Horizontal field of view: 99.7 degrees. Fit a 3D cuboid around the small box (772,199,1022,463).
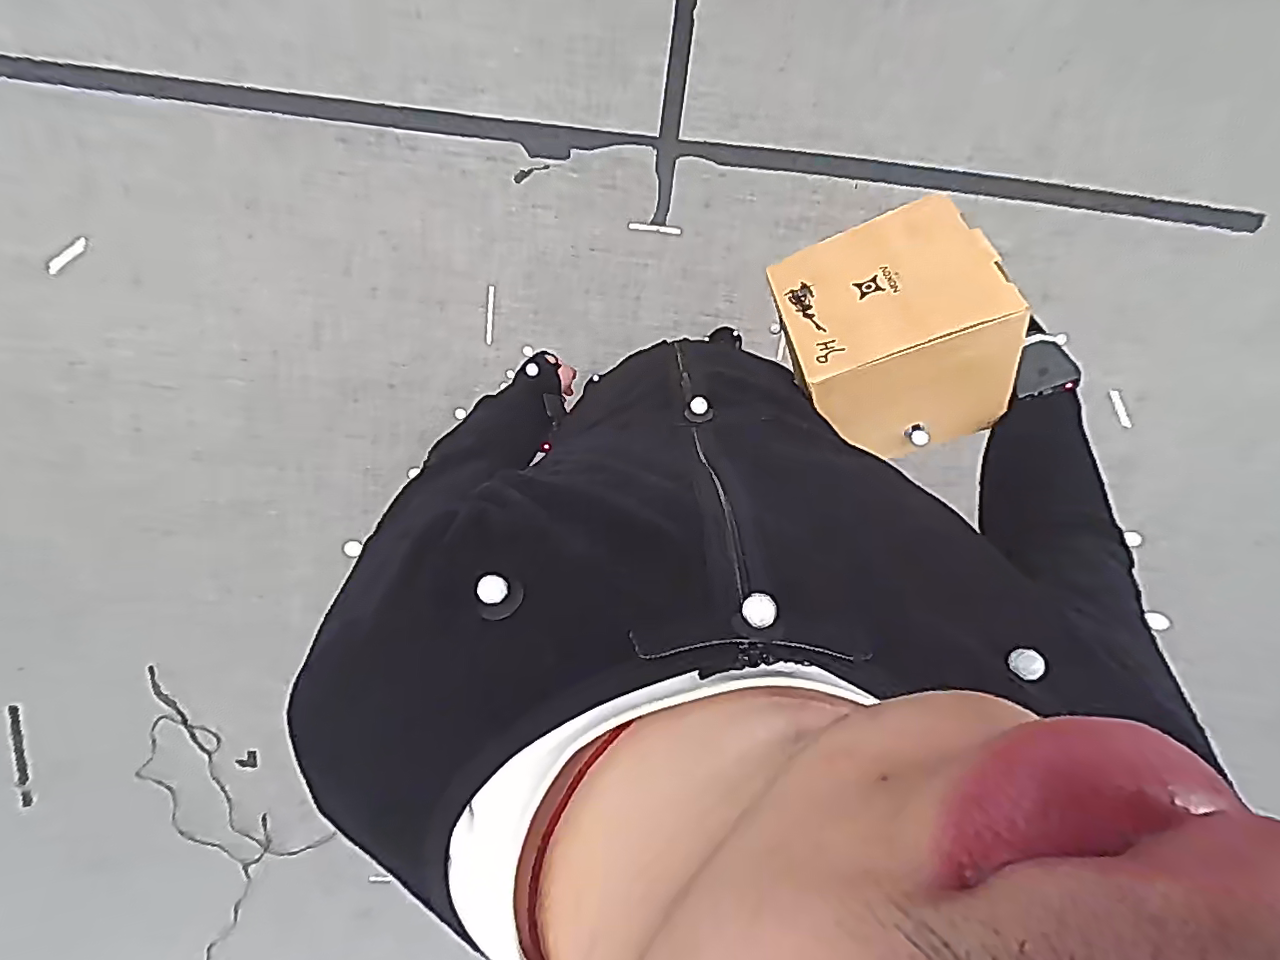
[{"bbox_3d":[0.255,-0.144,0.569,0.179,0.168,0.176,-18,145,16],"label":"small box"}]
